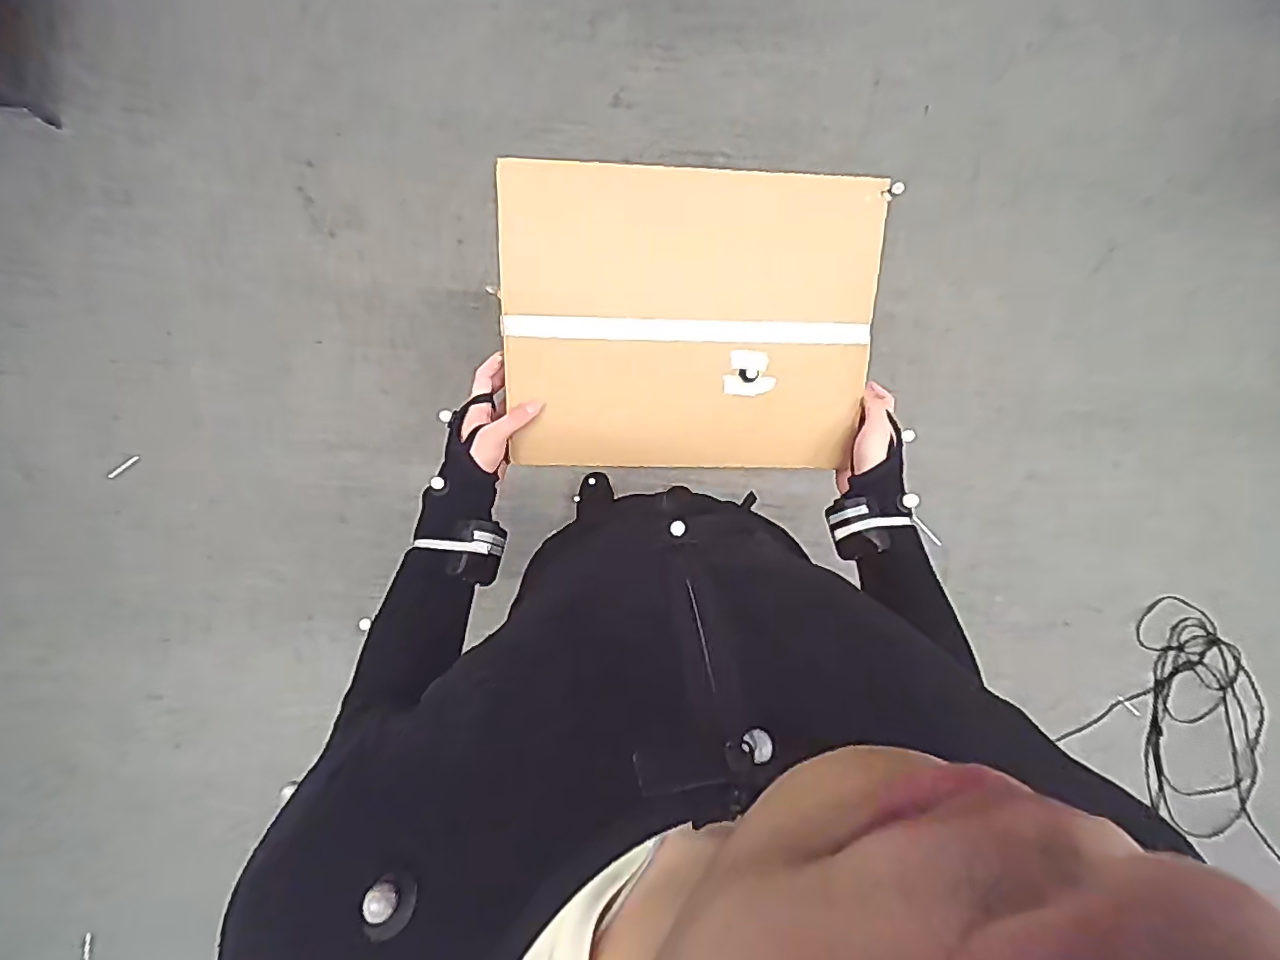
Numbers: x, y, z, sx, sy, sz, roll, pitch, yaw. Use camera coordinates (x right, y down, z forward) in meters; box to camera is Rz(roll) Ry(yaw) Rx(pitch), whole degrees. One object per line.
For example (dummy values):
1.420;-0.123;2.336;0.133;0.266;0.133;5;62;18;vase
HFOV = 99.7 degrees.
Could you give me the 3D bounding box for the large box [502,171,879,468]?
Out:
0.044;-0.207;0.741;0.408;0.320;0.320;-1;107;-5;large box
